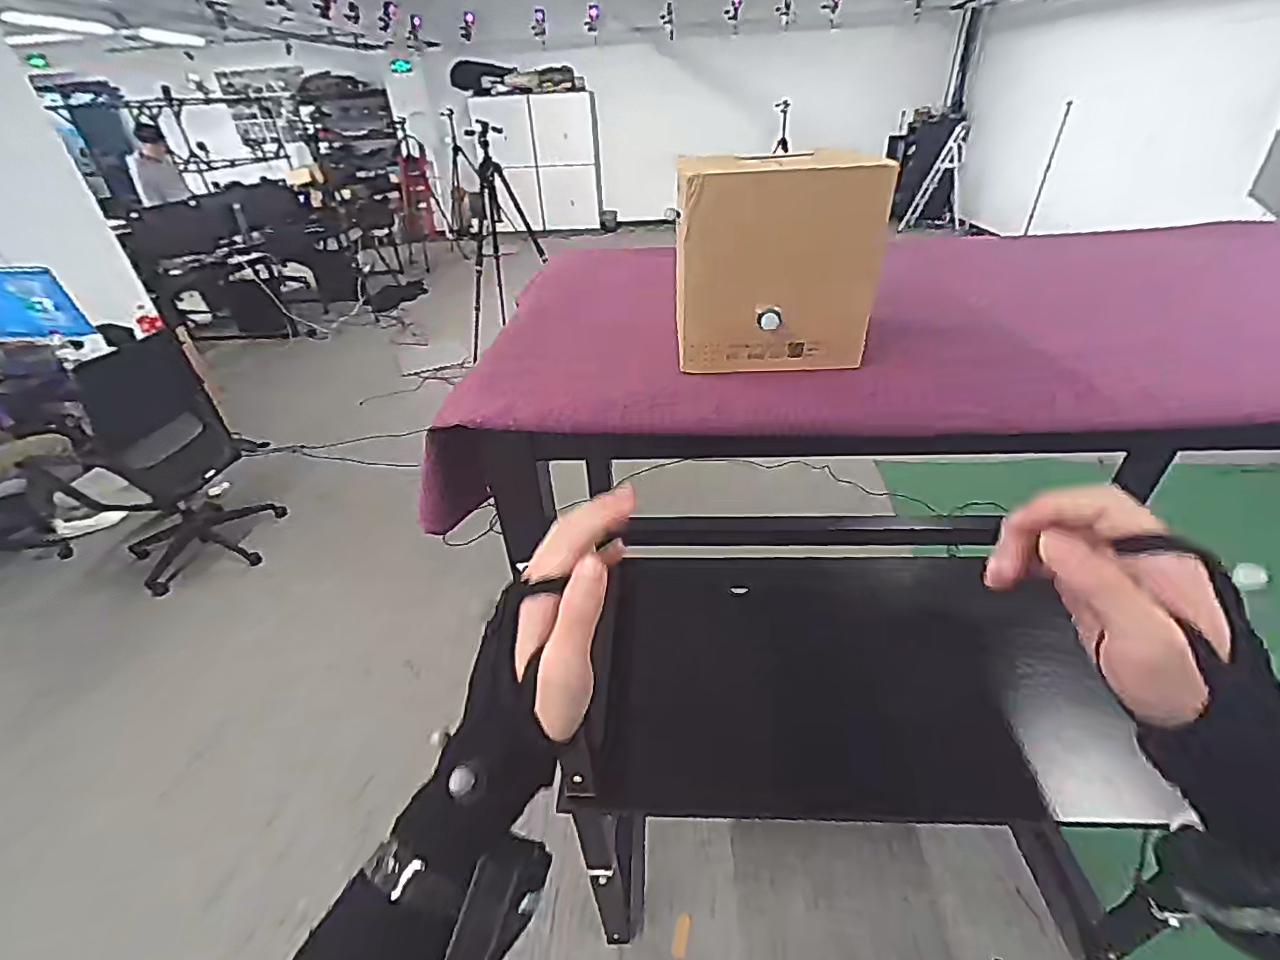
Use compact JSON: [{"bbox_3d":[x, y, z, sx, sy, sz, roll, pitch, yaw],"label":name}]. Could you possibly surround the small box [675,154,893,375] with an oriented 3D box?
[{"bbox_3d":[0.118,-0.212,0.527,0.168,0.176,0.179,-1,35,3],"label":"small box"}]
